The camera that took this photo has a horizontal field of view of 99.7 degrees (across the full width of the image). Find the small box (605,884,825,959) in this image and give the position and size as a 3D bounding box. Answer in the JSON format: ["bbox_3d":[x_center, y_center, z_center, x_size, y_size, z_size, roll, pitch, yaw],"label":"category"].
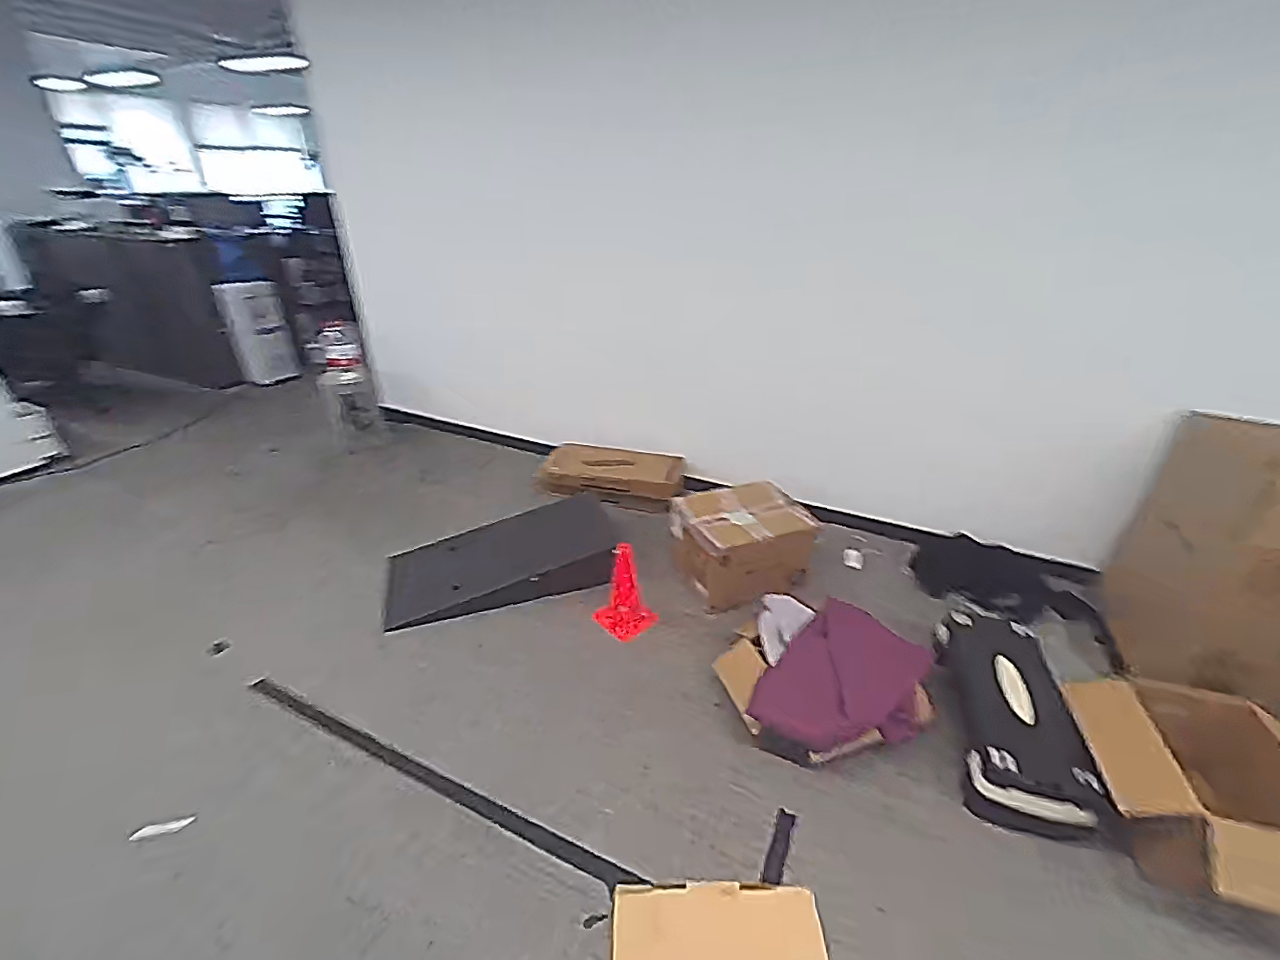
[{"bbox_3d":[0.054,0.449,0.421,0.168,0.176,0.179,2,36,-3],"label":"small box"}]
